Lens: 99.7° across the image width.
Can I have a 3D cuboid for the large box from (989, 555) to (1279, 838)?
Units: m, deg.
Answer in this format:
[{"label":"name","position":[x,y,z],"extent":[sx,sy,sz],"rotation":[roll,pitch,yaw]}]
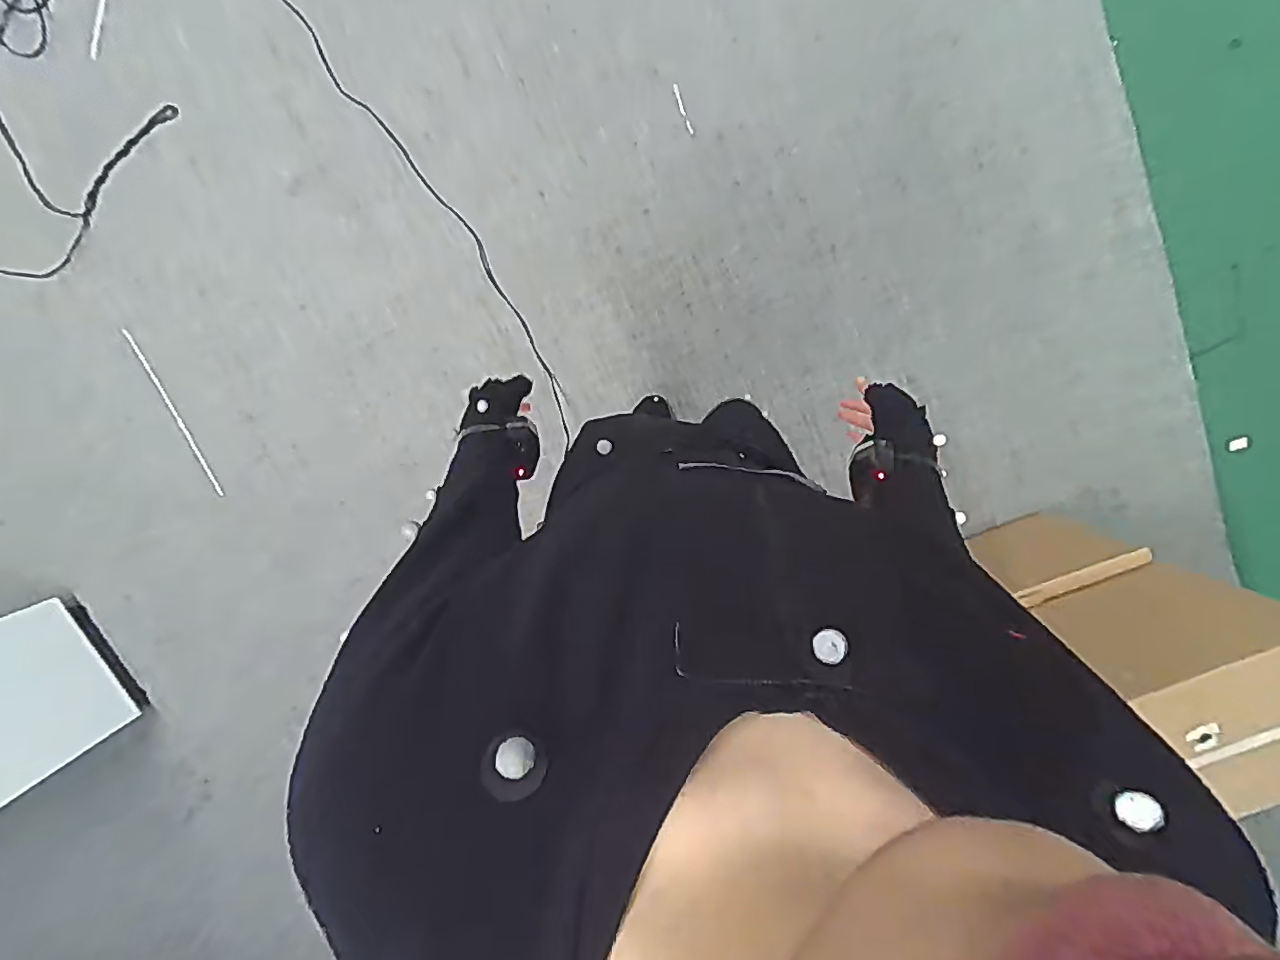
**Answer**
[{"label":"large box","position":[1.012,0.401,1.072],"extent":[0.408,0.320,0.320],"rotation":[-22,102,4]}]
